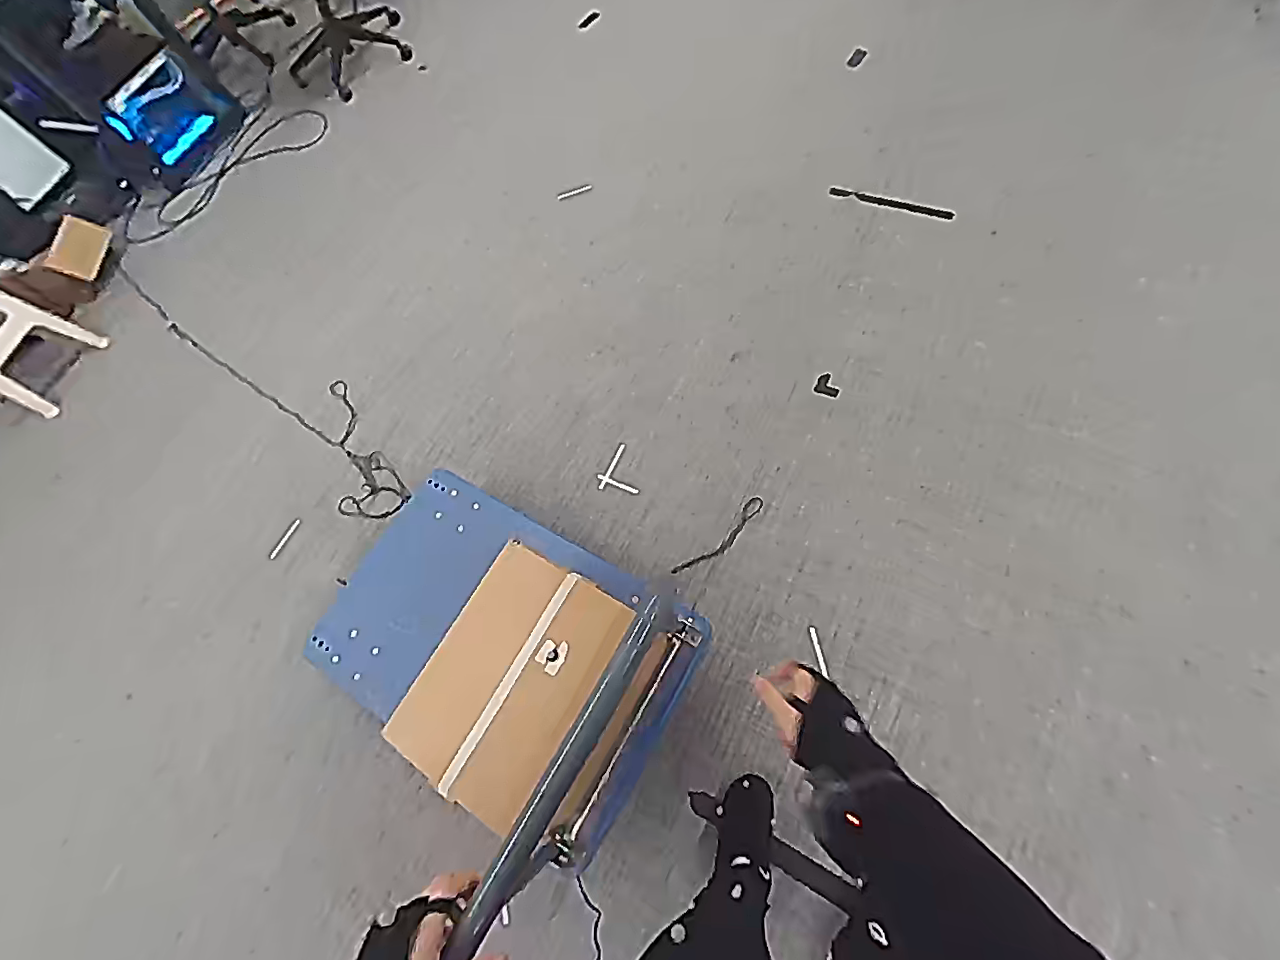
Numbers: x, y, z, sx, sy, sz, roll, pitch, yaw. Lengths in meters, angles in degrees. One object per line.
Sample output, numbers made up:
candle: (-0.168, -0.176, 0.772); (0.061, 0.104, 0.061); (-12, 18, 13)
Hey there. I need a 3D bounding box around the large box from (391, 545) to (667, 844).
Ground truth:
large box: (-0.188, 0.409, 1.077); (0.320, 0.320, 0.408); (25, 73, 20)
